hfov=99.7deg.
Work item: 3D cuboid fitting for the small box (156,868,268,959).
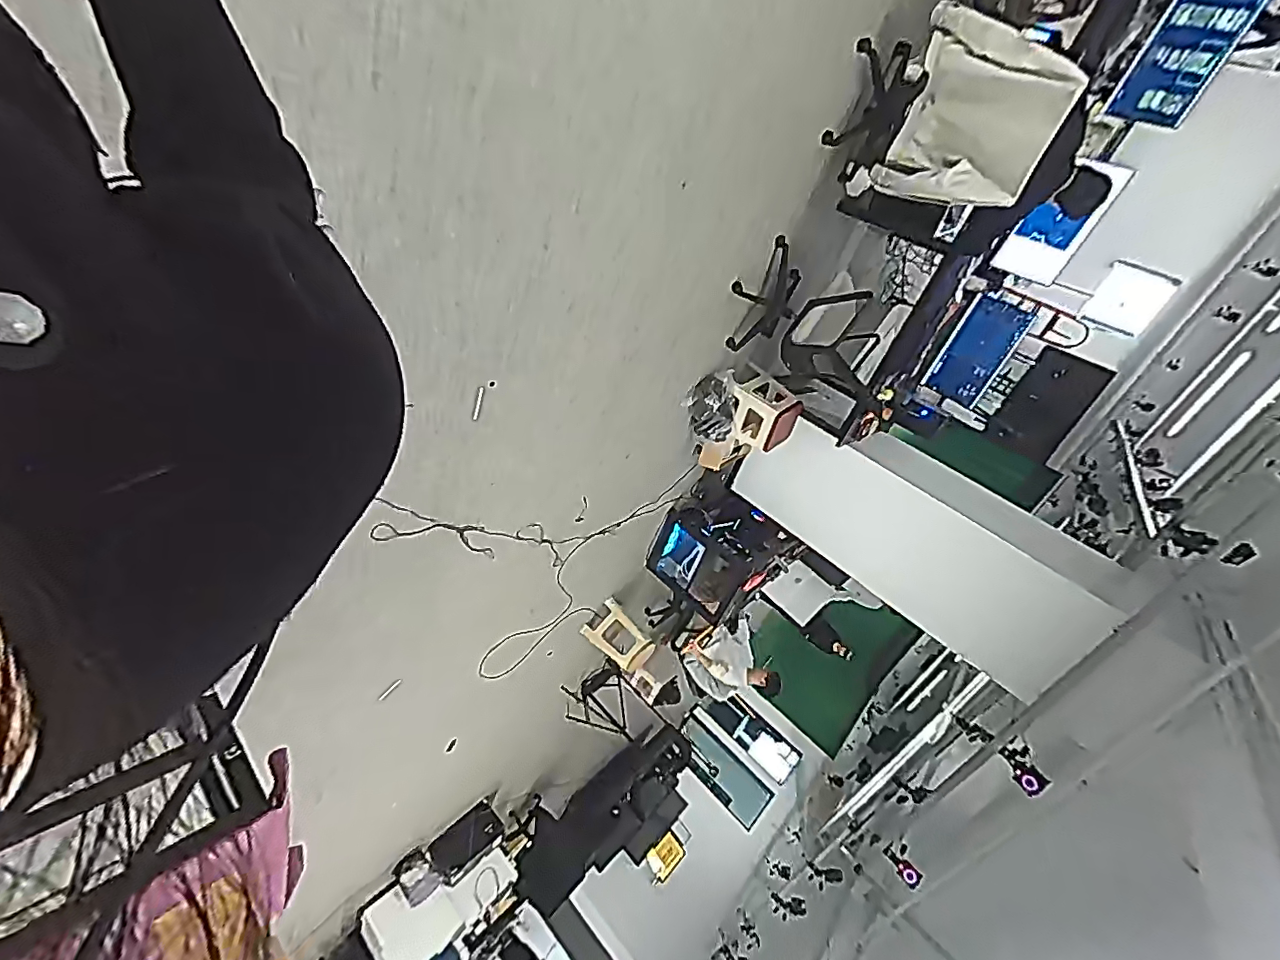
[{"bbox_3d":[-0.997,1.064,1.268,0.168,0.176,0.179,-21,141,-46],"label":"small box"}]

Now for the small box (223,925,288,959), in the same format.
[{"bbox_3d":[-0.880,1.160,1.204,0.179,0.176,0.168,-22,142,-44],"label":"small box"}]
